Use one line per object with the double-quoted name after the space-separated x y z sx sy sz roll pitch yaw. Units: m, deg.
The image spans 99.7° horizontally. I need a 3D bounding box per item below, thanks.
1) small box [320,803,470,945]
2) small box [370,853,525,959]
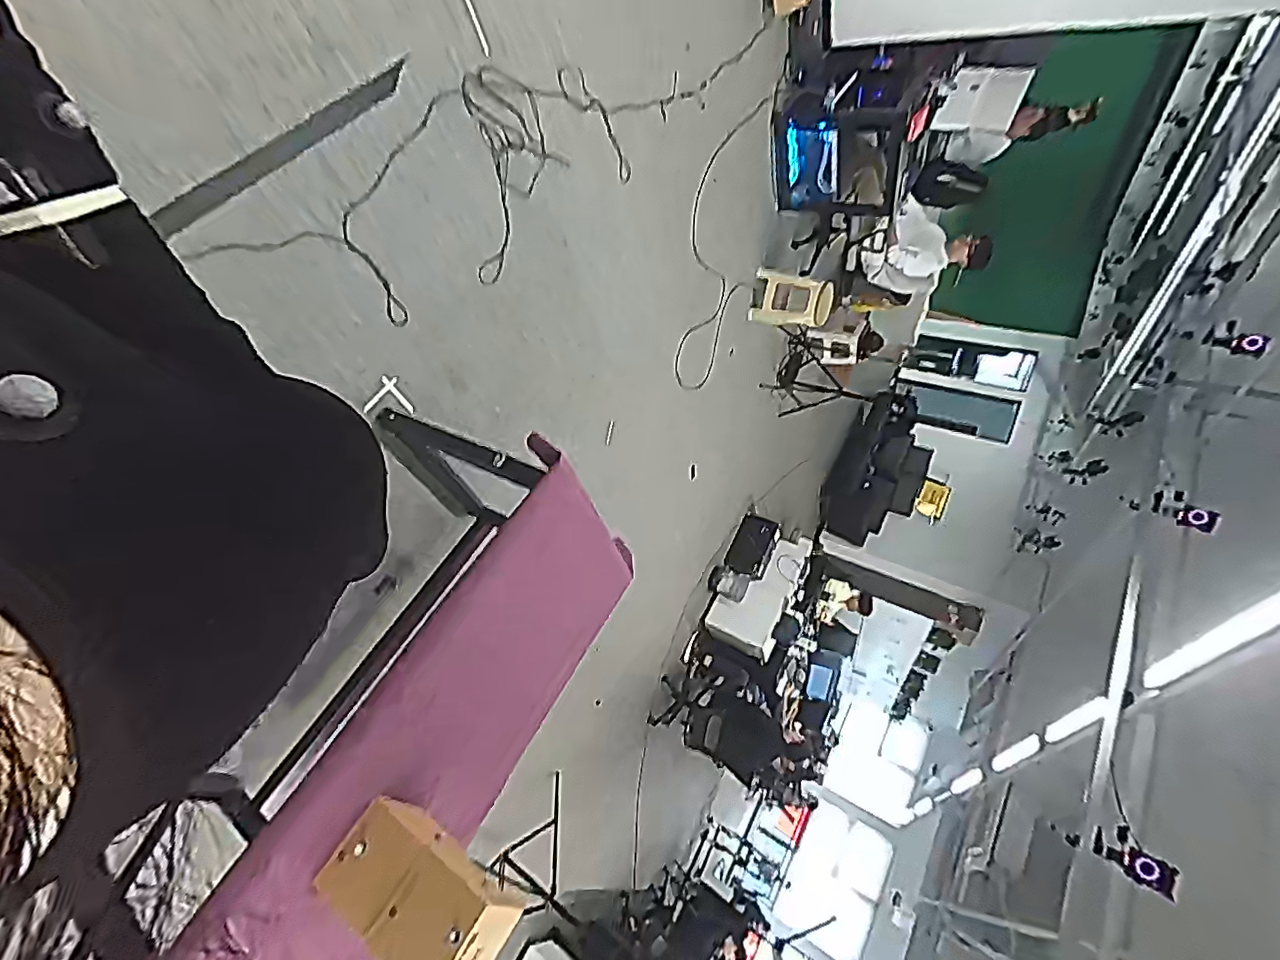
-0.484 0.781 1.080 0.168 0.176 0.179 -55 147 -27 "small box"
-0.350 0.826 0.997 0.168 0.176 0.179 -54 148 -28 "small box"
